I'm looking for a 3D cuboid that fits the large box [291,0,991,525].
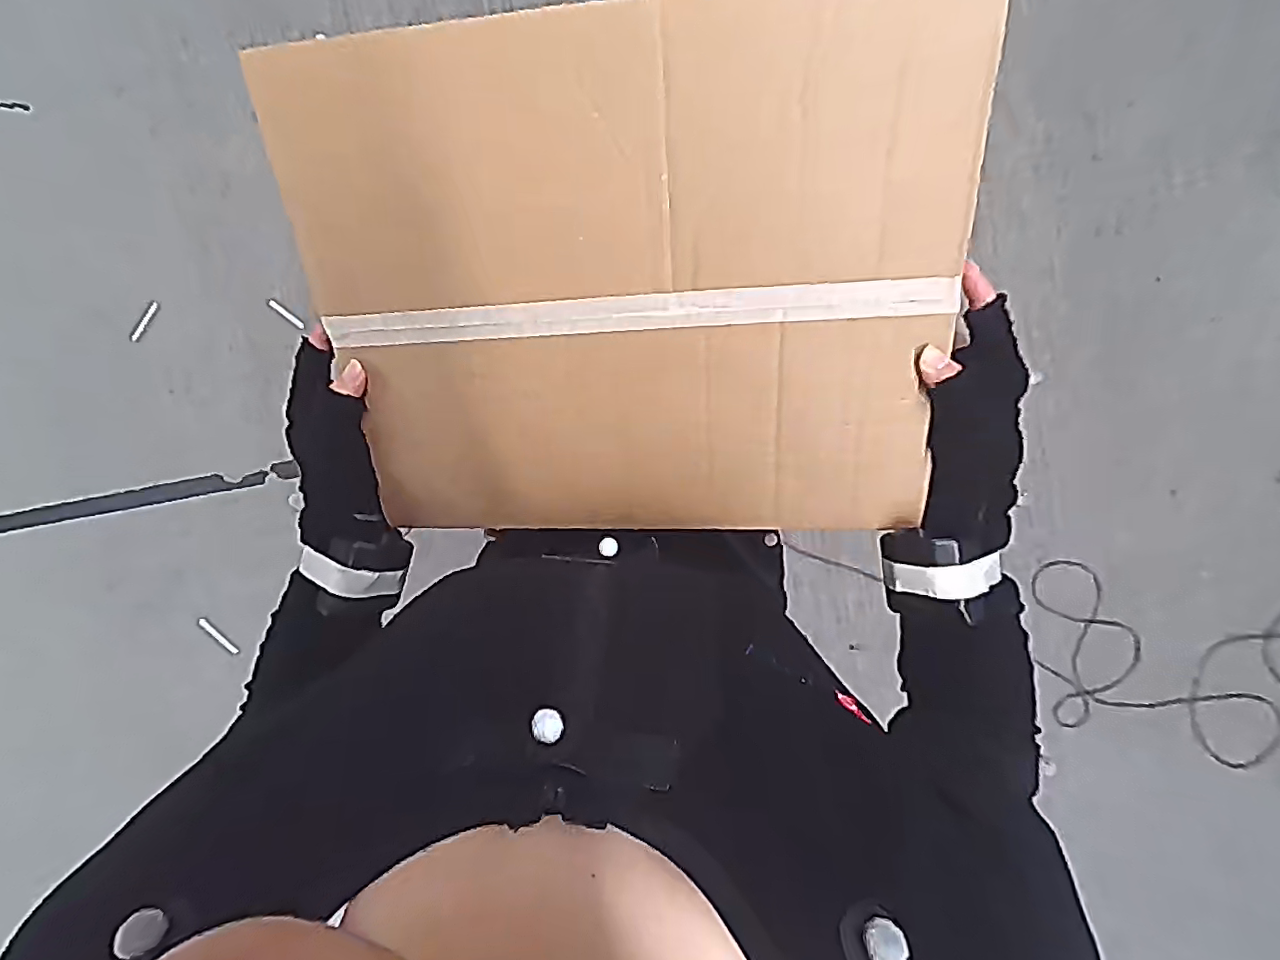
[{"bbox_3d":[0.010,-0.168,0.493,0.408,0.320,0.320,-1,116,8],"label":"large box"}]
